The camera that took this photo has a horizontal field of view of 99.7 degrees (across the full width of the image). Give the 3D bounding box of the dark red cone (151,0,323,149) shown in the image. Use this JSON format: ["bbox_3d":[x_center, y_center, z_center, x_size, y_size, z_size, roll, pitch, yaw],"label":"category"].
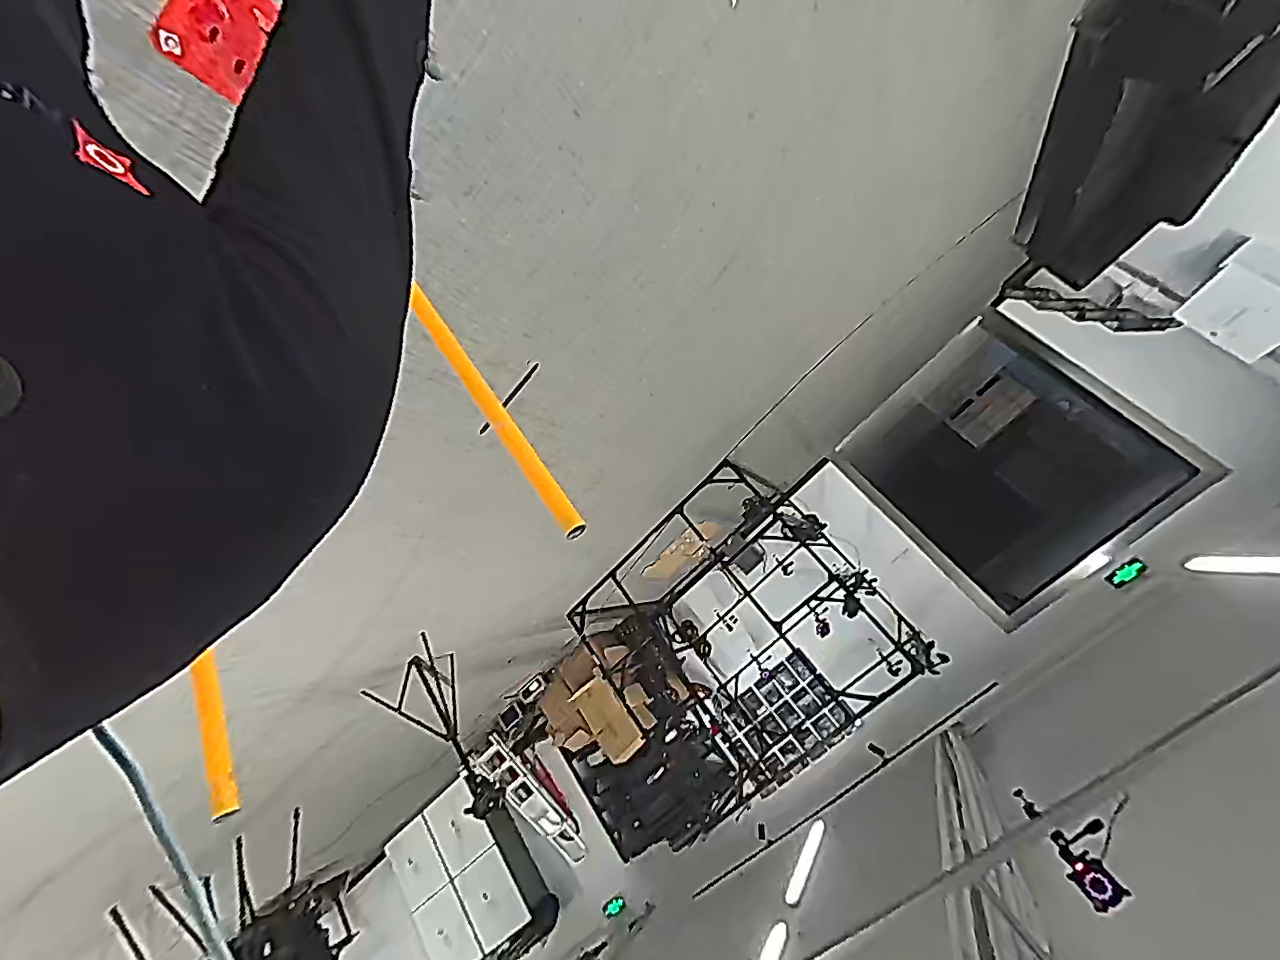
[{"bbox_3d":[-0.650,-0.690,0.940,0.202,0.394,0.201,-45,159,14],"label":"dark red cone"}]
